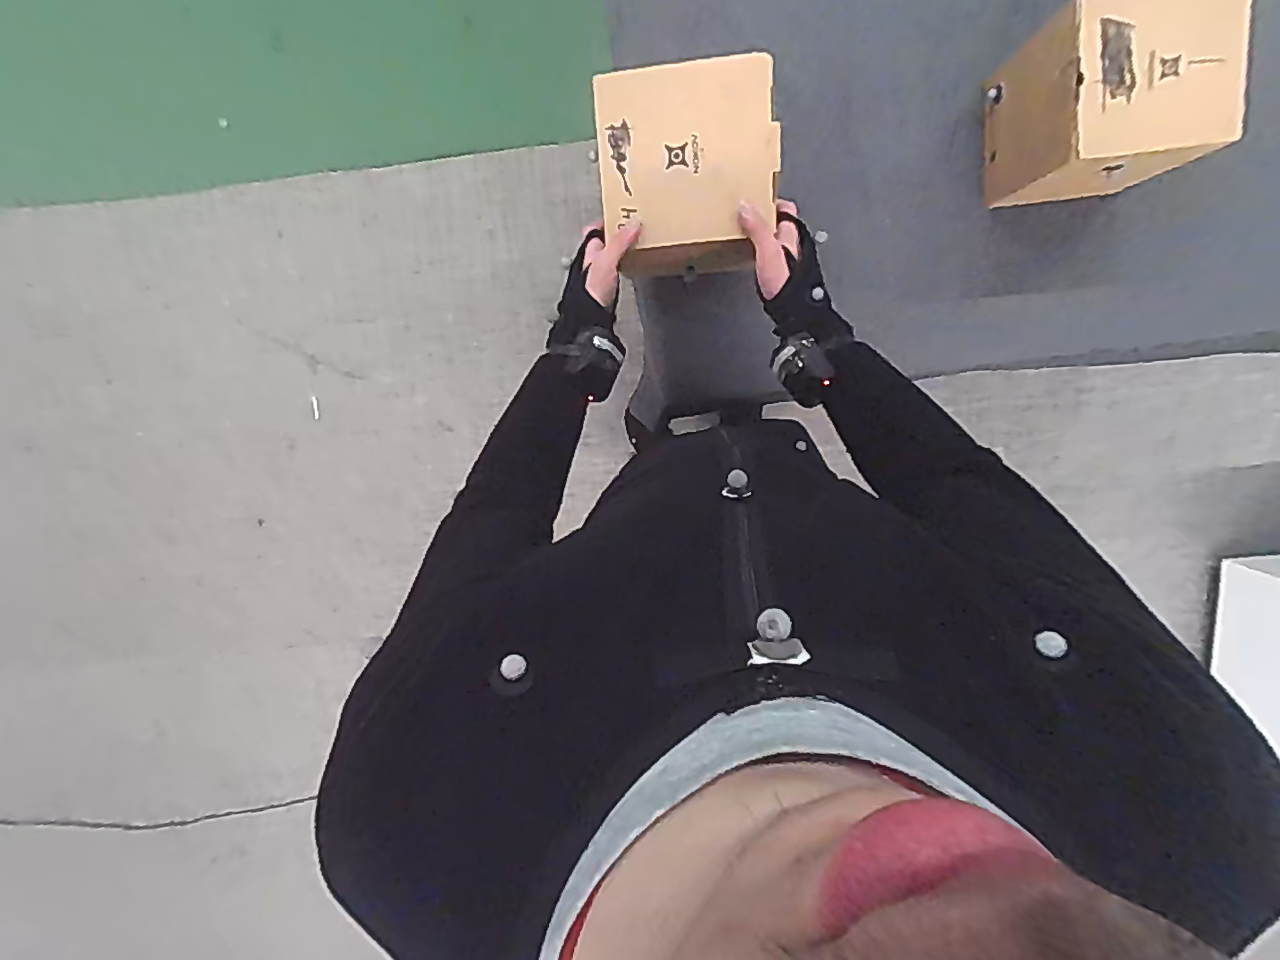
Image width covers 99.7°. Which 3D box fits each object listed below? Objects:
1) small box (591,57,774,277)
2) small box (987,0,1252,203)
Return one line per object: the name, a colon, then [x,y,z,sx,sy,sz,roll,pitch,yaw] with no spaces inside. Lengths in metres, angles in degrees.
small box: [0.047,-0.330,0.606,0.179,0.176,0.168,-2,101,5]
small box: [0.546,-0.447,0.643,0.179,0.176,0.168,-6,101,2]
